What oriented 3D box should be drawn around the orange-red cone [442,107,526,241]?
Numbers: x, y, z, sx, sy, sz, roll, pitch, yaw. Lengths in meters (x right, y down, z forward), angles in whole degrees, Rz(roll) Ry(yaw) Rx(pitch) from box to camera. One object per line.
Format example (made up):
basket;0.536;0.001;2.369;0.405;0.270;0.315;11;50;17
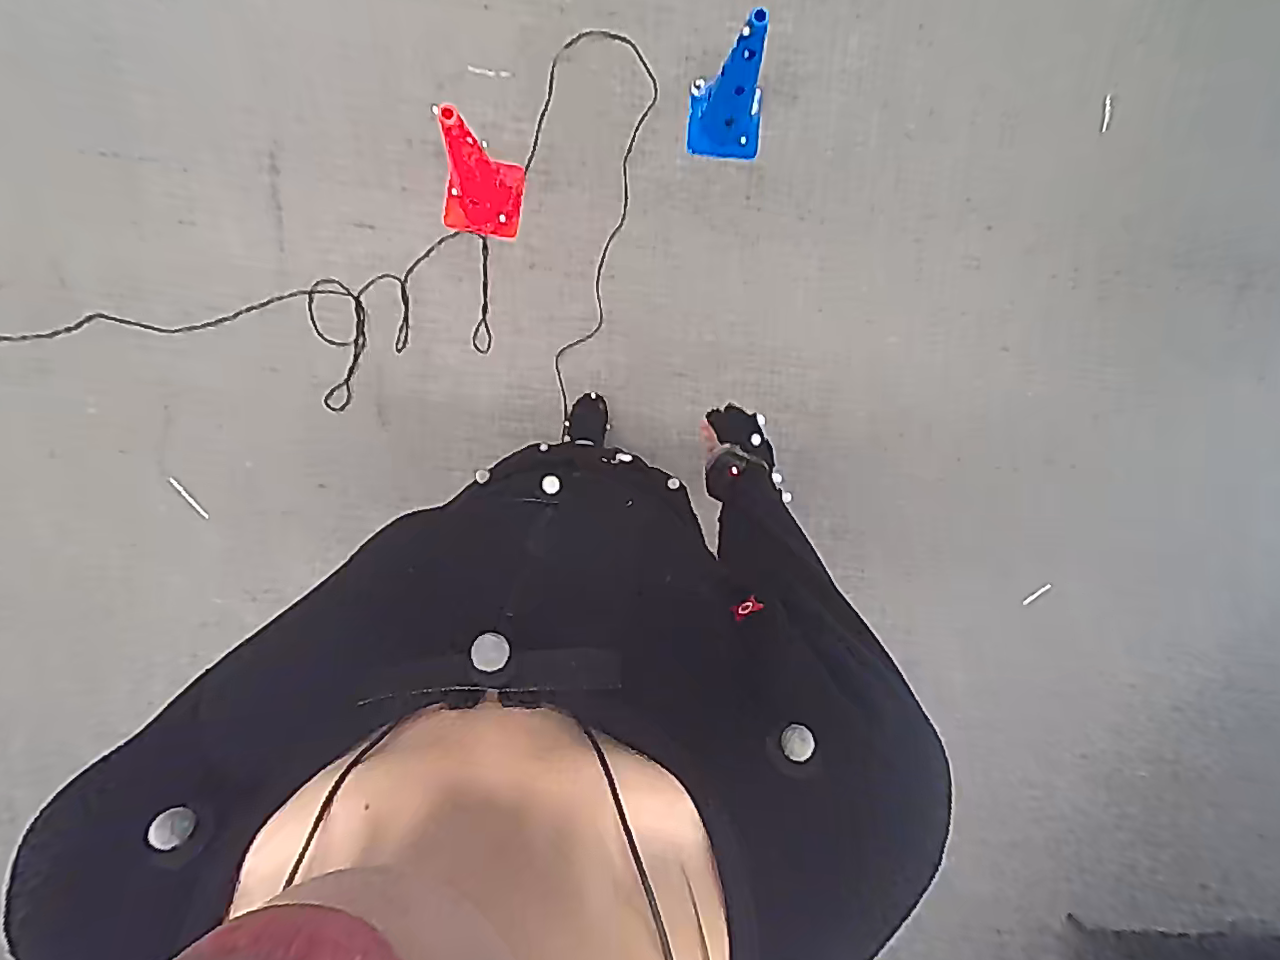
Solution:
orange-red cone;-0.403;-0.752;1.282;0.198;0.360;0.199;10;90;-5
